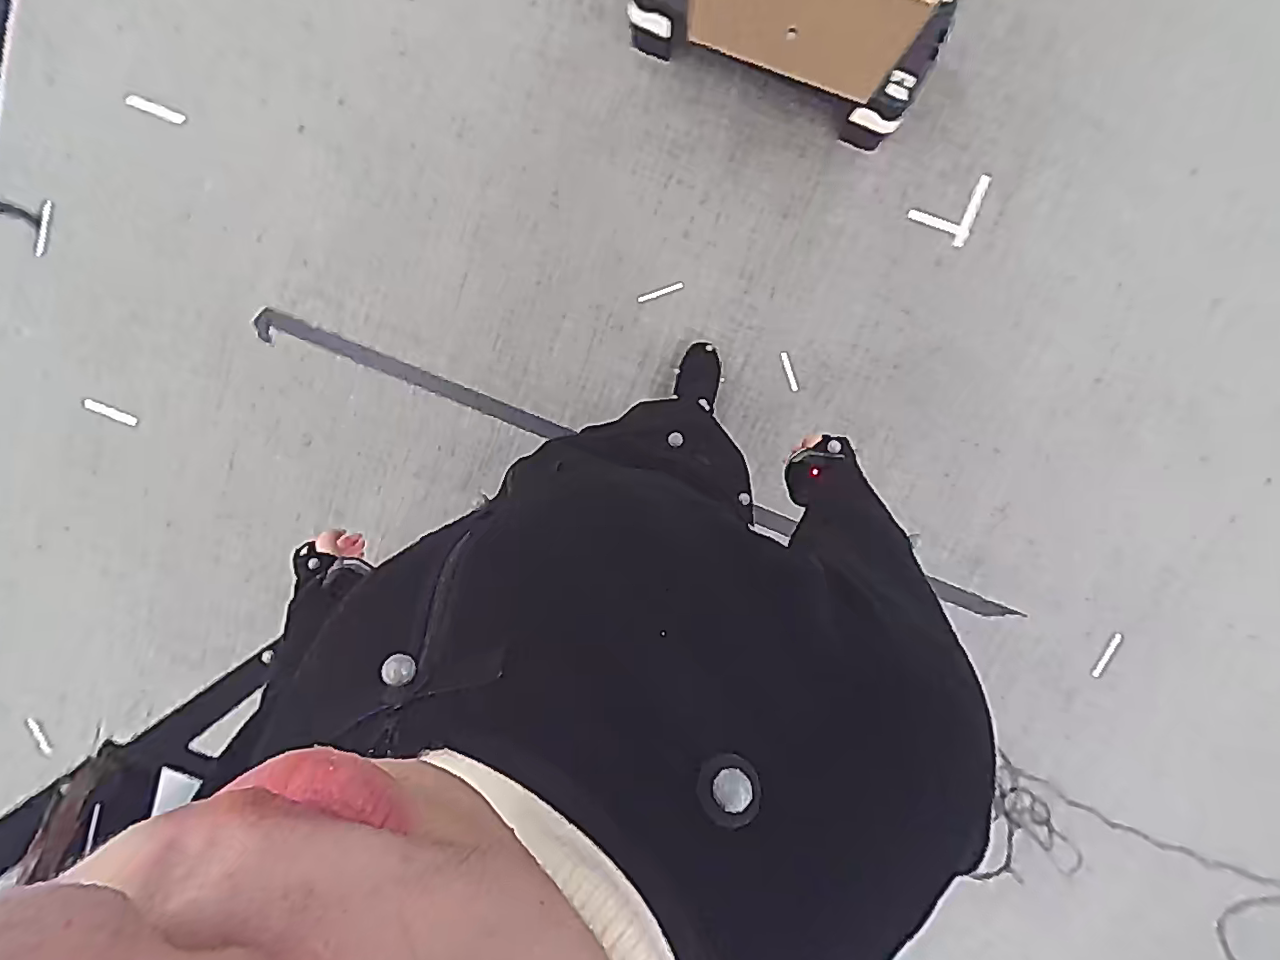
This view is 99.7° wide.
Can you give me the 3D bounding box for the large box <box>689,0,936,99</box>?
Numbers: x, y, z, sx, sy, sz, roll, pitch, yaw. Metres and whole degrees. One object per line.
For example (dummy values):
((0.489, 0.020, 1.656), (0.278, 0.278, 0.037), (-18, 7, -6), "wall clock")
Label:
((0.328, -0.972, 0.967), (0.408, 0.320, 0.320), (18, 99, 0), "large box")
